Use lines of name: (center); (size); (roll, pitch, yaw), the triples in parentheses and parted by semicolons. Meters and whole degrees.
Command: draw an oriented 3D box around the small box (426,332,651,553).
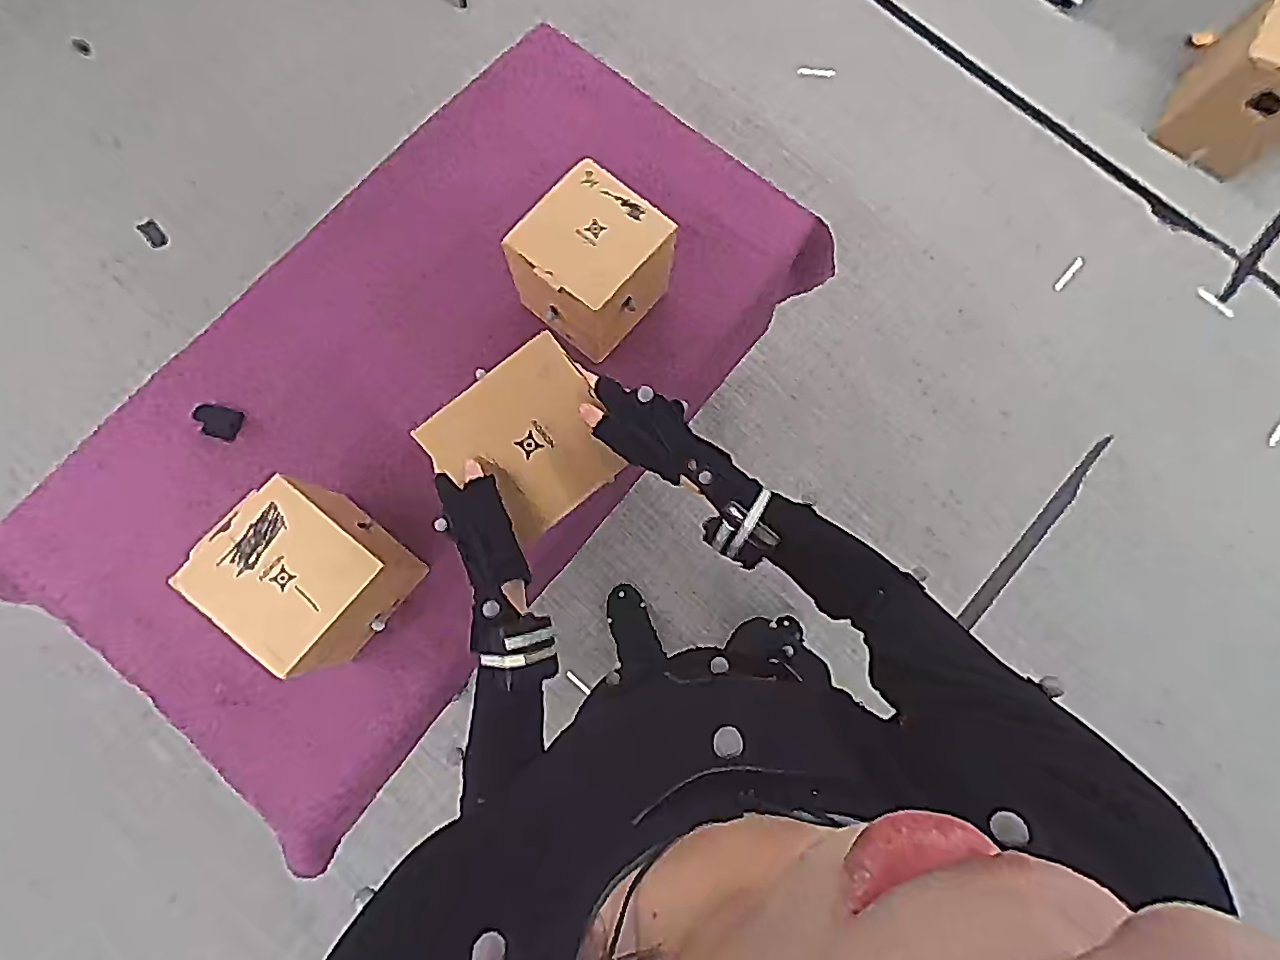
small box: (-0.116, -0.045, 0.637); (0.179, 0.176, 0.168); (-39, 99, -5)

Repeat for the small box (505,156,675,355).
small box: (-0.066, -0.318, 0.802); (0.168, 0.176, 0.179); (39, 81, 5)

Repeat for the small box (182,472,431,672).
small box: (-0.410, 0.119, 0.700); (0.179, 0.176, 0.168); (38, 80, 5)
